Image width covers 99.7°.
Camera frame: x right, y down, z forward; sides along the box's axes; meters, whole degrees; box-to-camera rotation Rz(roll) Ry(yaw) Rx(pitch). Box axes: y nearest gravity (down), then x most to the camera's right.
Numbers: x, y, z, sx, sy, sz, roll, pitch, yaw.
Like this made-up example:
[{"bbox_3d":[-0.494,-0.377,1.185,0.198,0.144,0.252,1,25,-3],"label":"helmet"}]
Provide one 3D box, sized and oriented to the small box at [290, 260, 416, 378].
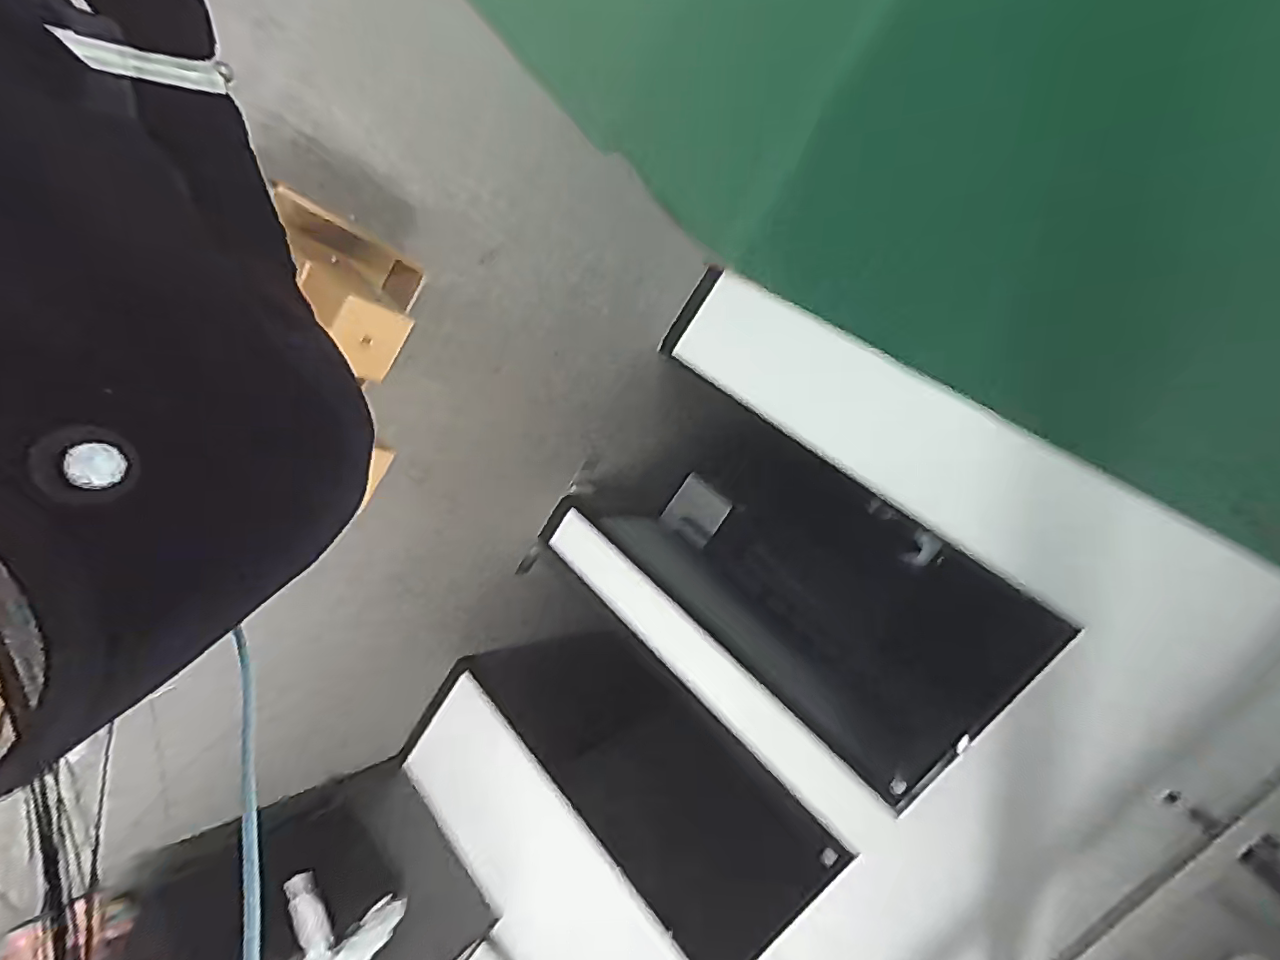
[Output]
[{"bbox_3d":[-0.653,-0.364,1.225,0.179,0.176,0.168,-54,153,14],"label":"small box"}]
